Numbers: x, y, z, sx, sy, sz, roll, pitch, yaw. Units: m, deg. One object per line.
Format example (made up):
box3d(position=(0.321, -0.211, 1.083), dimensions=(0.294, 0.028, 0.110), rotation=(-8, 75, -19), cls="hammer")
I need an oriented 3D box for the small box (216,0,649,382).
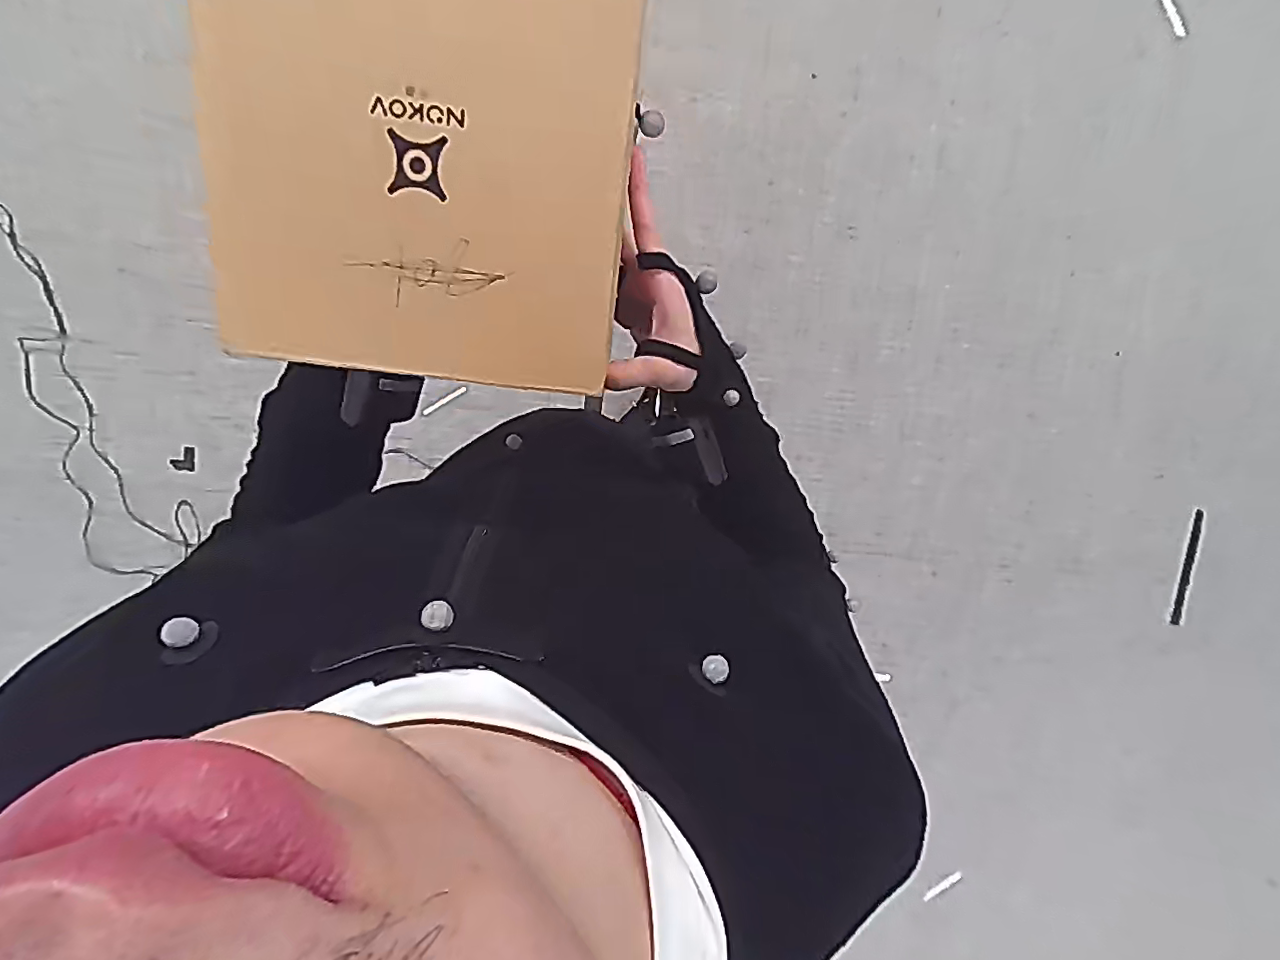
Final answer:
box3d(position=(-0.089, -0.161, 0.302), dimensions=(0.168, 0.176, 0.179), rotation=(6, 108, -3), cls="small box")
